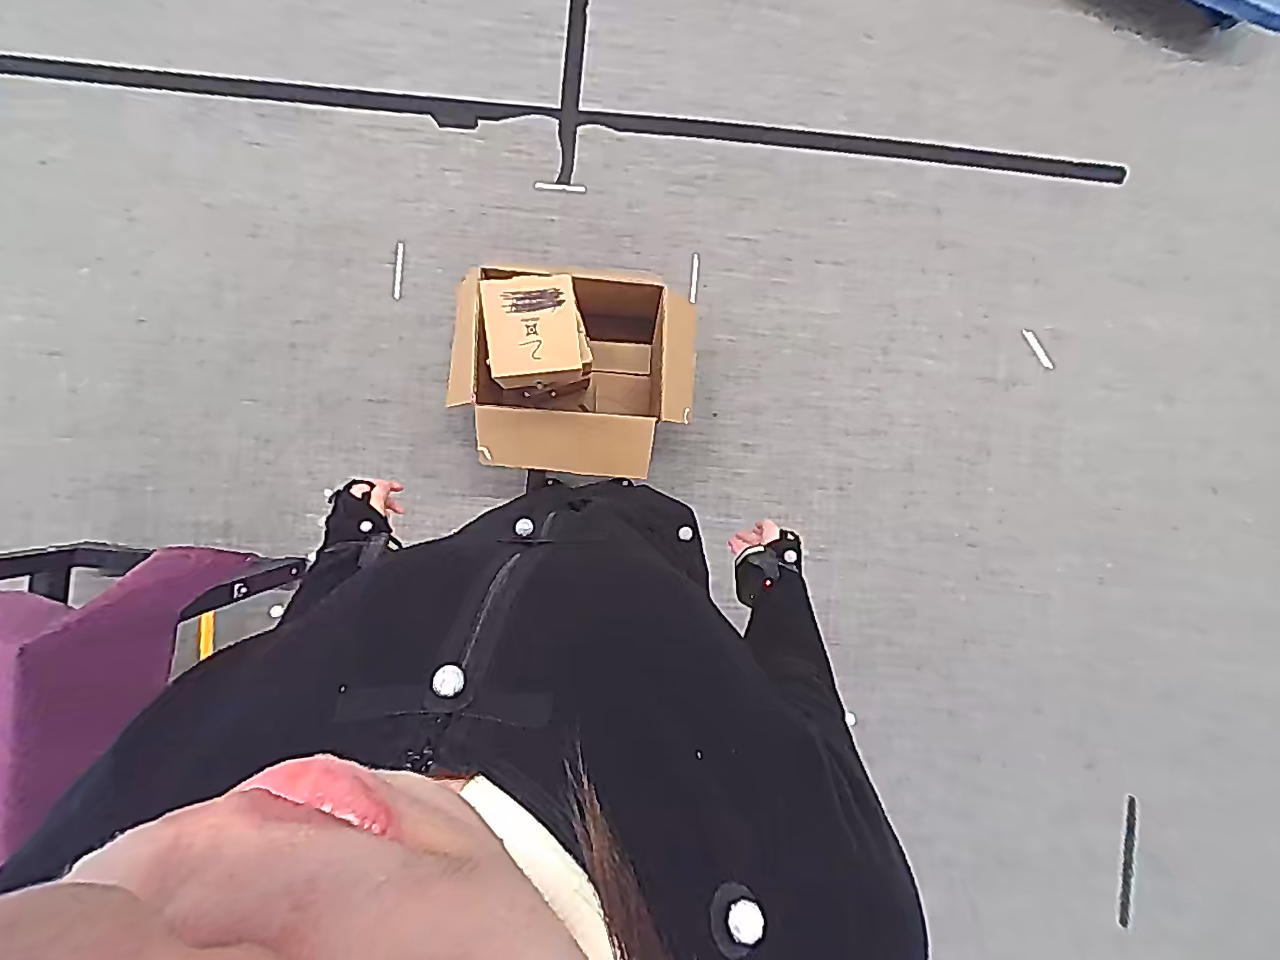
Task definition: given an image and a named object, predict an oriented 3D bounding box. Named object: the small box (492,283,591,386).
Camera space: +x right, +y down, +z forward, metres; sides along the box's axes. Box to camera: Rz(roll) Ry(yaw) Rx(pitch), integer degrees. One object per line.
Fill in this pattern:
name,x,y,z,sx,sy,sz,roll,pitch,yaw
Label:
small box,-0.214,-0.318,1.218,0.179,0.176,0.168,-17,95,-6
